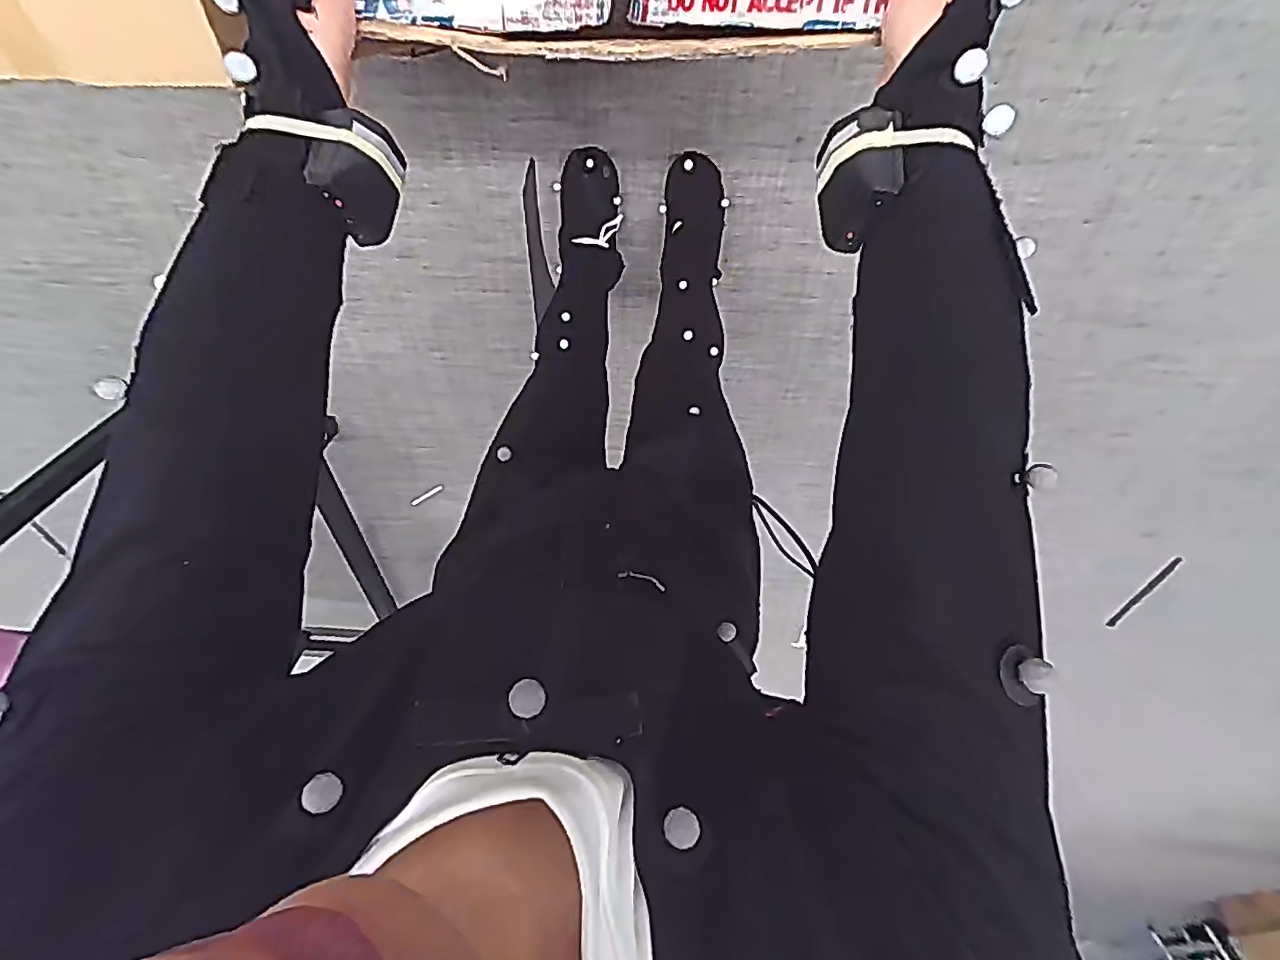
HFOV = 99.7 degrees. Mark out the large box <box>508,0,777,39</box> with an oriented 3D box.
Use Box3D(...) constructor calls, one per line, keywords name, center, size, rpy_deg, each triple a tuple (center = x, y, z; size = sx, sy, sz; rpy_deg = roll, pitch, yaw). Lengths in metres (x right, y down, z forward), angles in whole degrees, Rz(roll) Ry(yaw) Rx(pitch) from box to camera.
Box3D(name="large box", center=(0.005, -0.769, 0.609), size=(0.320, 0.320, 0.408), rpy_deg=(3, 133, 3))
